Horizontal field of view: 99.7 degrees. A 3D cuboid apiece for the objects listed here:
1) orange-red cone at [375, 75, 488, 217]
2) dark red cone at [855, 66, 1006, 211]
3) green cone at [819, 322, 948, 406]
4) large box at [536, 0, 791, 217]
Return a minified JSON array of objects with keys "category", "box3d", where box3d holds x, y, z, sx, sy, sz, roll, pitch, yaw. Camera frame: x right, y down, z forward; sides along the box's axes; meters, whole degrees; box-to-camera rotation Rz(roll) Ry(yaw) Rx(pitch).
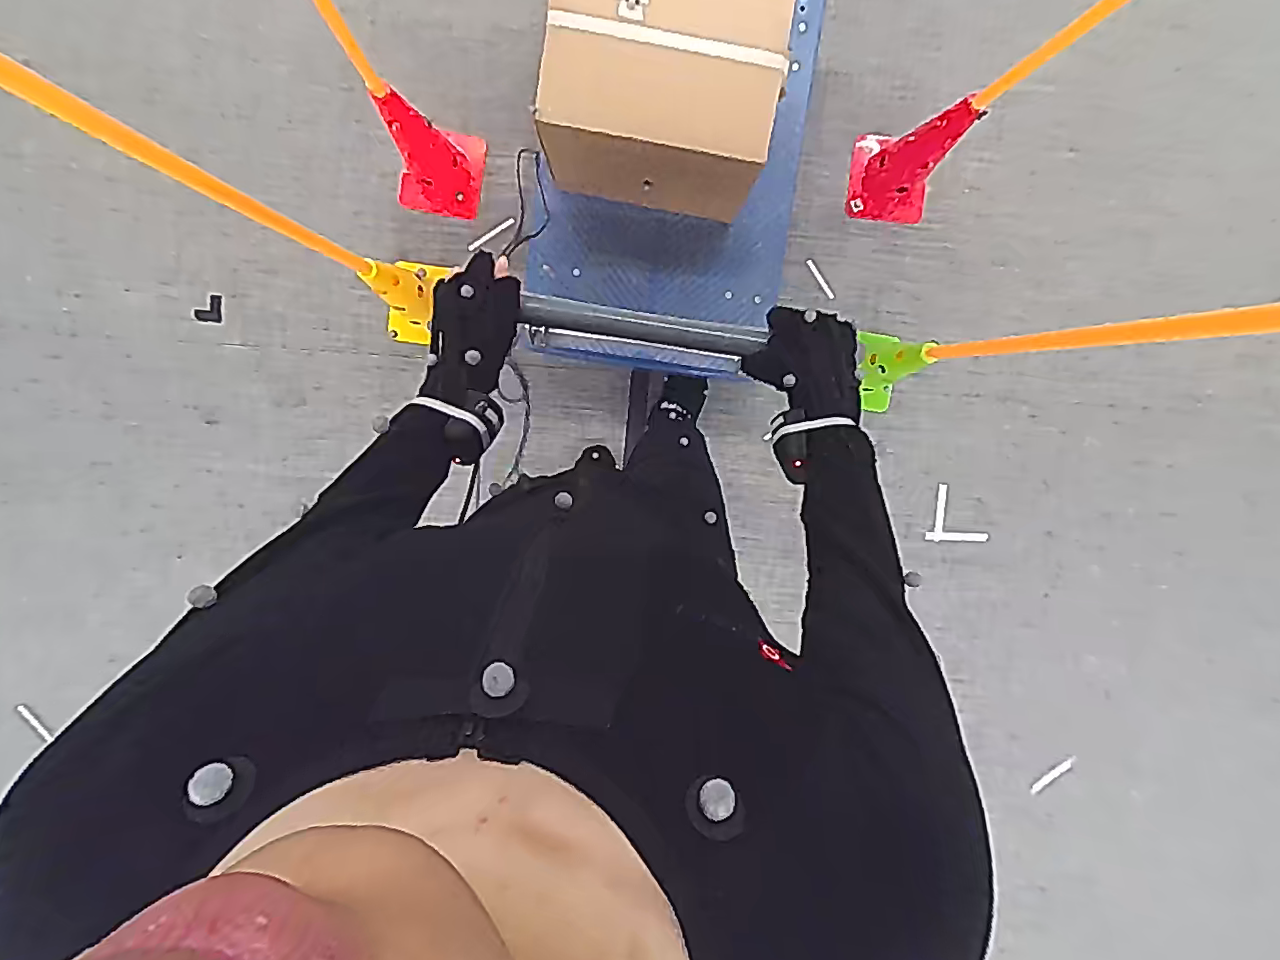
[{"category":"orange-red cone","box3d":[-0.488,-0.764,1.191,0.198,0.360,0.199,12,95,-3]},{"category":"dark red cone","box3d":[0.646,-0.762,1.186,0.201,0.394,0.202,4,97,-3]},{"category":"green cone","box3d":[0.587,-0.286,1.259,0.202,0.368,0.200,8,97,-3]},{"category":"large box","box3d":[0.041,-0.747,1.054,0.408,0.320,0.320,10,98,-1]}]
